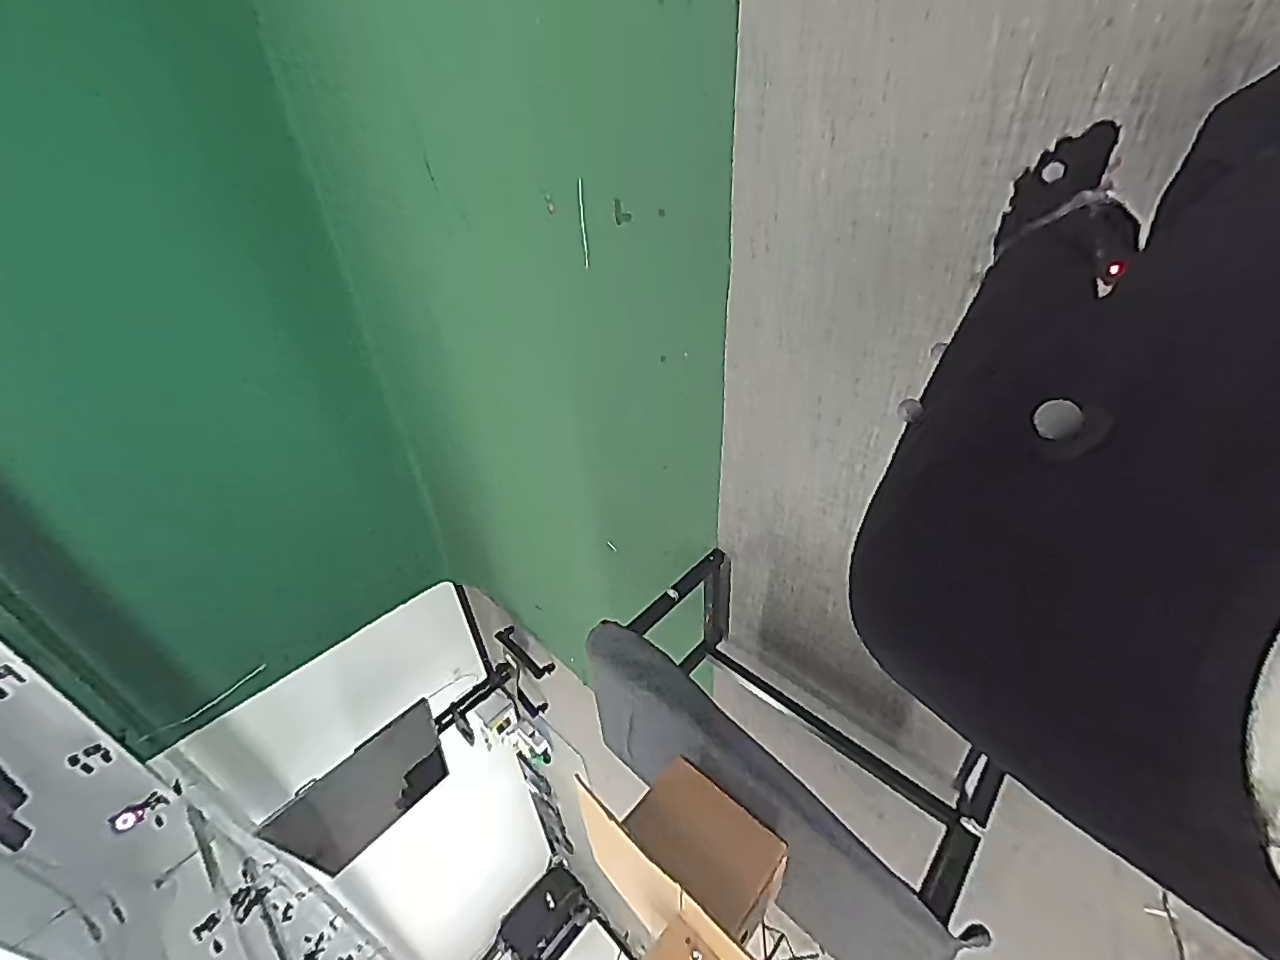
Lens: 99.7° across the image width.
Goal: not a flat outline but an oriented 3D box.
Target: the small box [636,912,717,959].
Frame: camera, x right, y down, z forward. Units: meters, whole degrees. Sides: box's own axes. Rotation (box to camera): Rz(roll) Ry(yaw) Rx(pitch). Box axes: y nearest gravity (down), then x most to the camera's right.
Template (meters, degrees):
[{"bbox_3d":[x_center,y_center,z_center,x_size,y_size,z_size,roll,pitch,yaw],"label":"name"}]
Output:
[{"bbox_3d":[0.093,1.266,1.377,0.168,0.176,0.179,26,133,35],"label":"small box"}]
